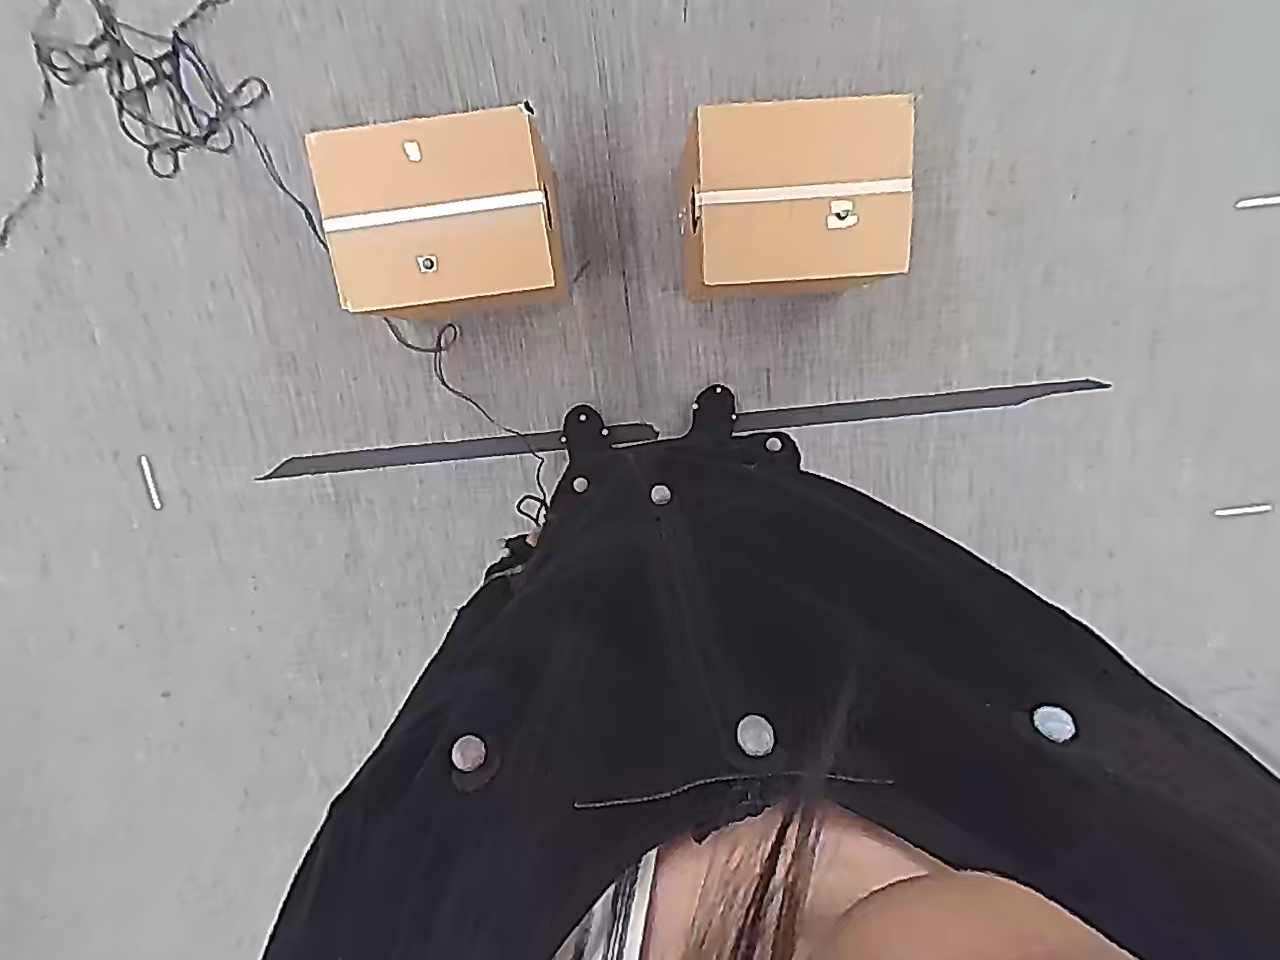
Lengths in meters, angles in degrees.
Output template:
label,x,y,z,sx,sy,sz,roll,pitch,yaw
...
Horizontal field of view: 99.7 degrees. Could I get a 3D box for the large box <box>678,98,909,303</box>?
label,x,y,z,sx,sy,sz,roll,pitch,yaw
large box,0.306,-0.574,1.173,0.408,0.320,0.320,-4,103,-2
